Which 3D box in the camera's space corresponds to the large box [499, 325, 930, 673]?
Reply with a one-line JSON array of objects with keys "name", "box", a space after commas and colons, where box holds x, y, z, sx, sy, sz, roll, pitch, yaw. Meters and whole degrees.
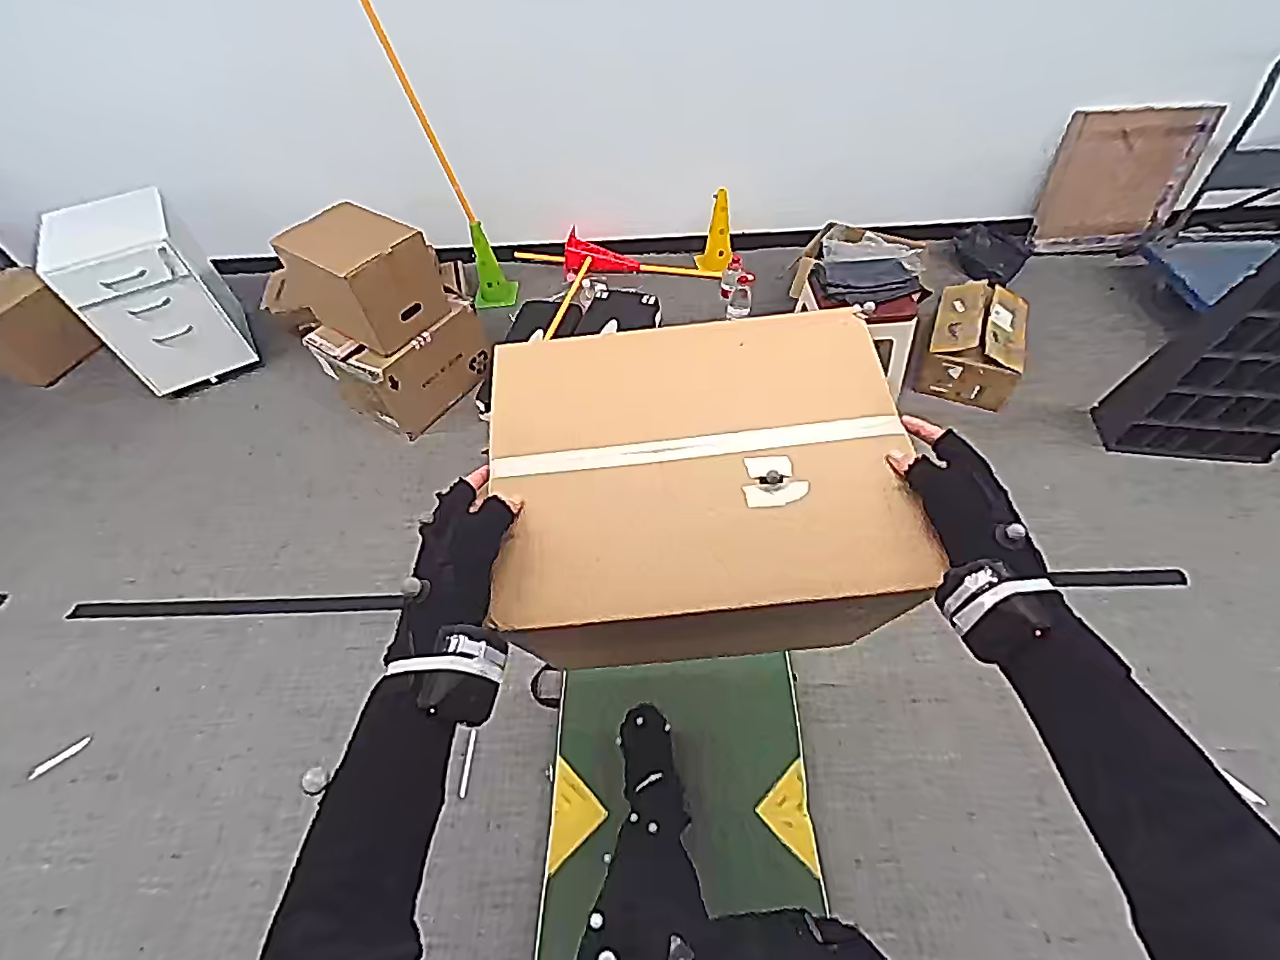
[{"name": "large box", "box": [0.059, 0.045, 0.687, 0.408, 0.320, 0.320, -6, 64, 0]}]
